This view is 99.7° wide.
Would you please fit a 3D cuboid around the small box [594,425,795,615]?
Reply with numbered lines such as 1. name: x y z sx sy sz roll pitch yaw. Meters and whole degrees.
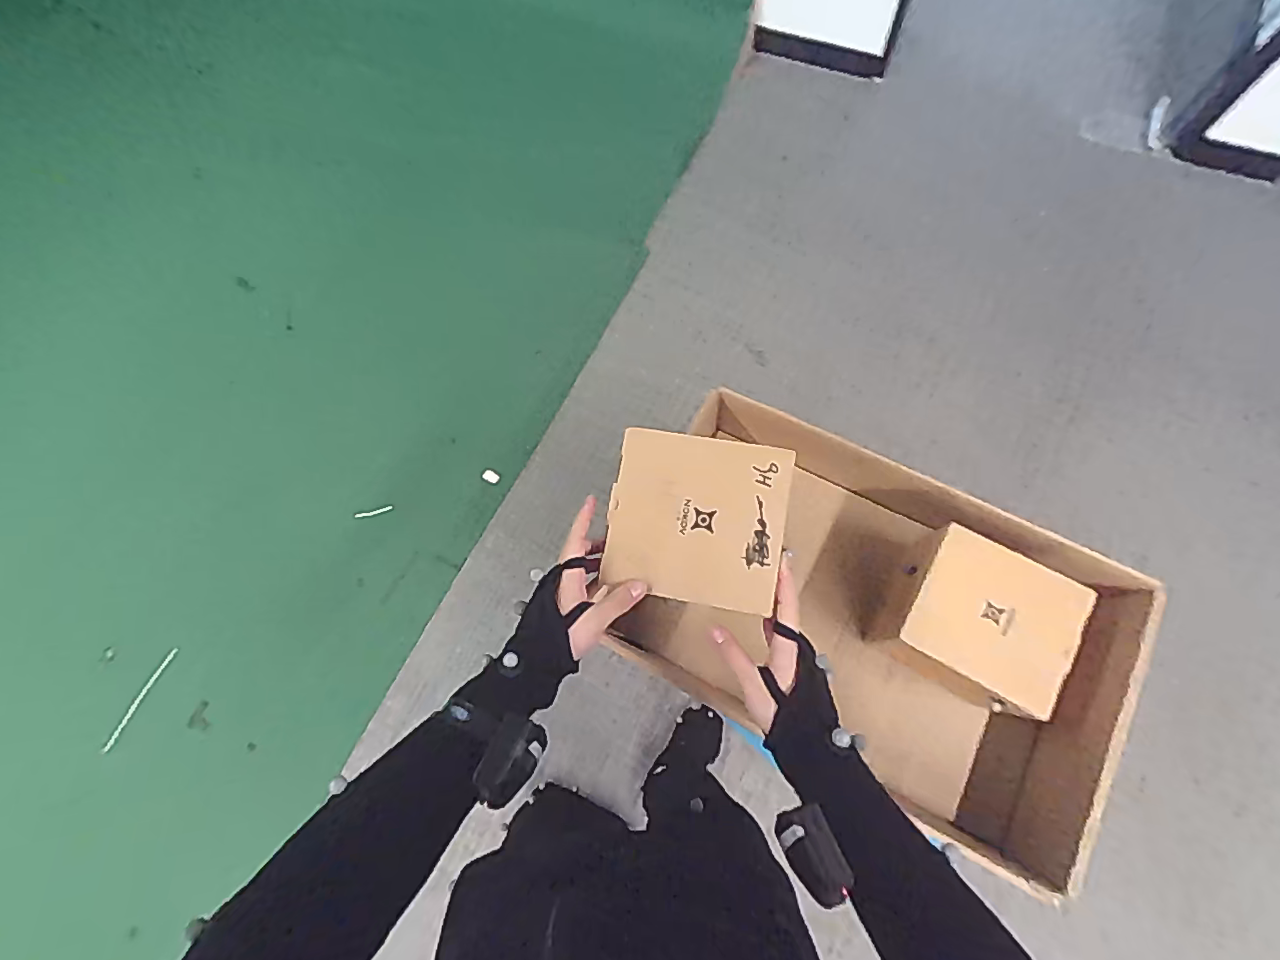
1. small box: 0.065 0.048 0.609 0.179 0.176 0.168 9 83 10
